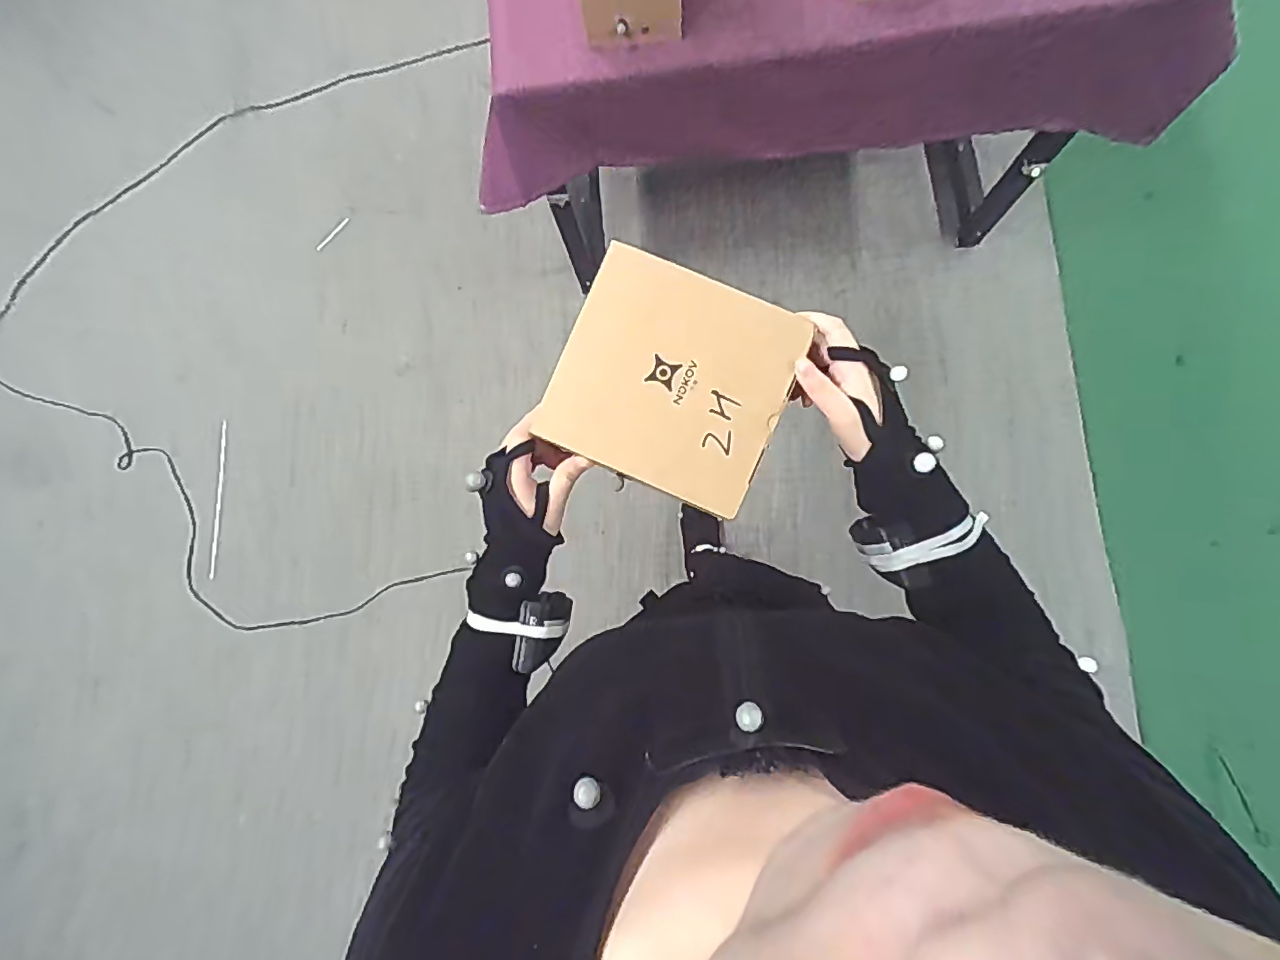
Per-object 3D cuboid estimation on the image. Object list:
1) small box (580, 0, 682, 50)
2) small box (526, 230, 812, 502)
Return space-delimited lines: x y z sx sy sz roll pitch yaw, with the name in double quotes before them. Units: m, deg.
"small box" -0.017 -0.850 0.876 0.168 0.176 0.179 -1 81 6
"small box" 0.025 -0.086 0.495 0.179 0.176 0.168 23 91 4
